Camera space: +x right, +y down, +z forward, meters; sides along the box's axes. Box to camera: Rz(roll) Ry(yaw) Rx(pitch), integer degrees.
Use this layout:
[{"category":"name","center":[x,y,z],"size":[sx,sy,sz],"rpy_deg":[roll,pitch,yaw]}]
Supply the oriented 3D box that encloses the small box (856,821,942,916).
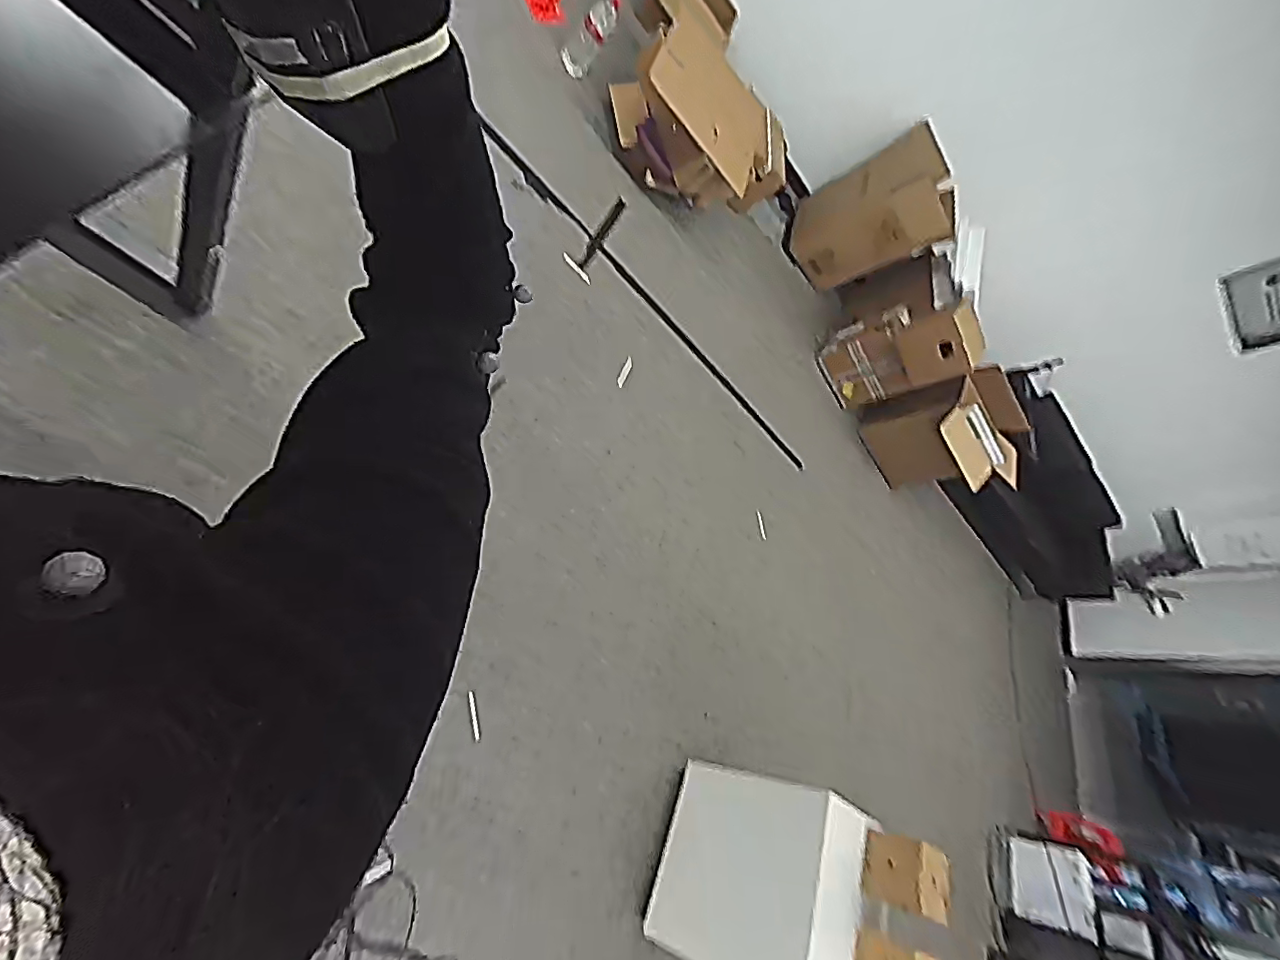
[{"category":"small box","center":[0.755,1.125,1.577],"size":[0.179,0.176,0.168],"rpy_deg":[41,55,-25]}]

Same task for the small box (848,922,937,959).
[{"category":"small box","center":[0.671,1.323,1.447],"size":[0.179,0.176,0.168],"rpy_deg":[42,53,-27]}]
